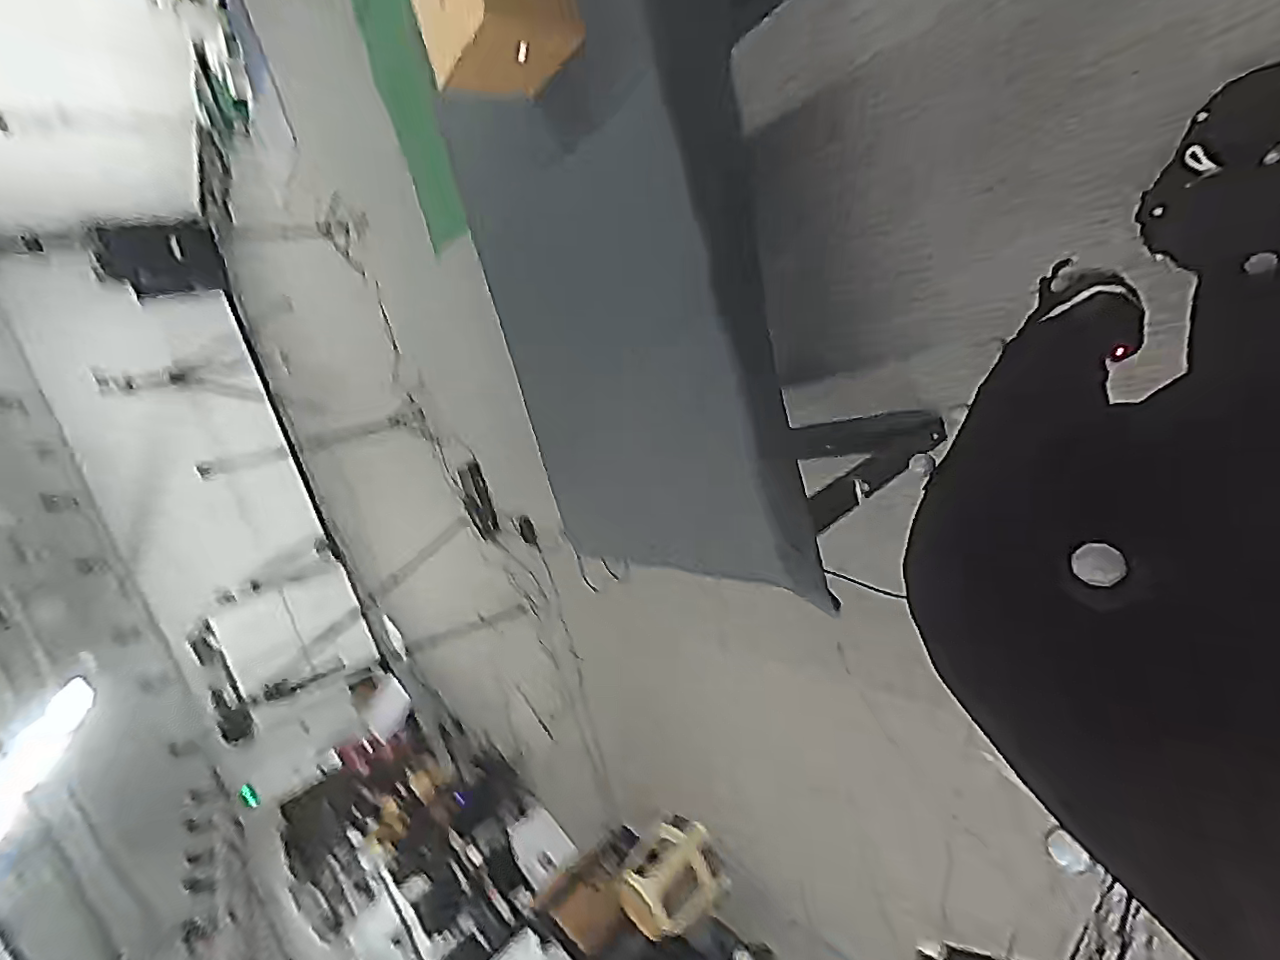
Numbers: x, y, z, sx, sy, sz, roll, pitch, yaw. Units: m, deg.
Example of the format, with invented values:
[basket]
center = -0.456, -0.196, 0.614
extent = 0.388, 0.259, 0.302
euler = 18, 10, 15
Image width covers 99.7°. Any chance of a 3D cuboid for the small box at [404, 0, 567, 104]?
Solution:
[small box]
center = -0.224, -0.692, 0.798
extent = 0.179, 0.176, 0.168
euler = -2, 107, 52
